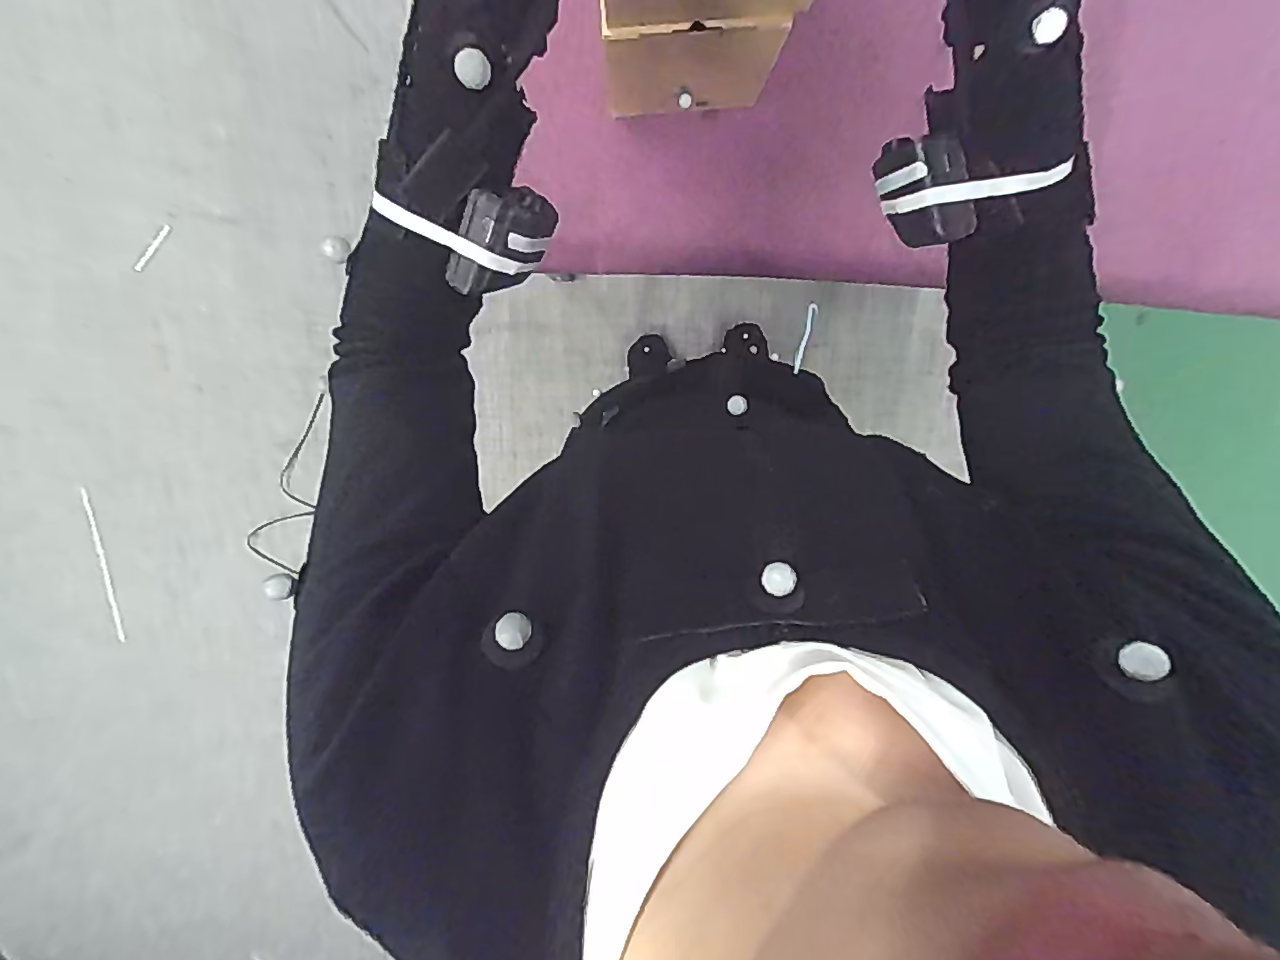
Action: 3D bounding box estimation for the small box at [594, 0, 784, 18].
[{"bbox_3d":[0.047,-0.449,0.357,0.179,0.176,0.168,-1,102,0],"label":"small box"}]

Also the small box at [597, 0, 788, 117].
[{"bbox_3d":[0.041,-0.485,0.520,0.168,0.176,0.179,-3,104,2],"label":"small box"}]
